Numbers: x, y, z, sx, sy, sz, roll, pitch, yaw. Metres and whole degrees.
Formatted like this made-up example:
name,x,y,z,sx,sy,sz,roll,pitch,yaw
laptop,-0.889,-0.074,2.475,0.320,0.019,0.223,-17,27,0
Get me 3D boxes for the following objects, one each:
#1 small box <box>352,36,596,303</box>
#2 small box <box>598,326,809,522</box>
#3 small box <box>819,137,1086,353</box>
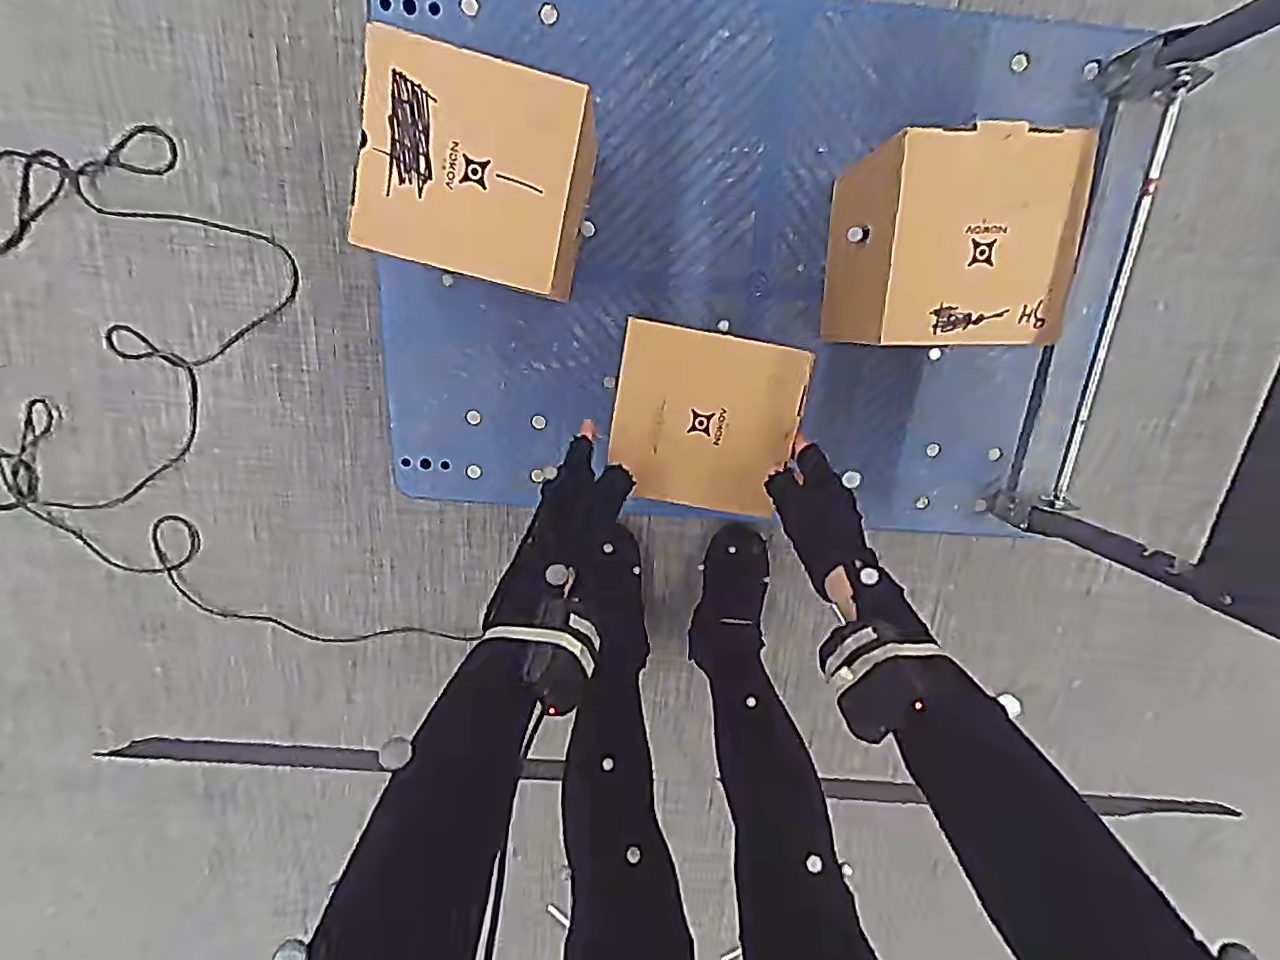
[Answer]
name,x,y,z,sx,sy,sz,roll,pitch,yaw
small box,-0.146,-0.276,0.528,0.179,0.176,0.168,13,105,-6
small box,0.057,-0.069,0.592,0.179,0.176,0.168,10,103,-2
small box,0.295,-0.222,0.553,0.168,0.176,0.179,0,104,-1
